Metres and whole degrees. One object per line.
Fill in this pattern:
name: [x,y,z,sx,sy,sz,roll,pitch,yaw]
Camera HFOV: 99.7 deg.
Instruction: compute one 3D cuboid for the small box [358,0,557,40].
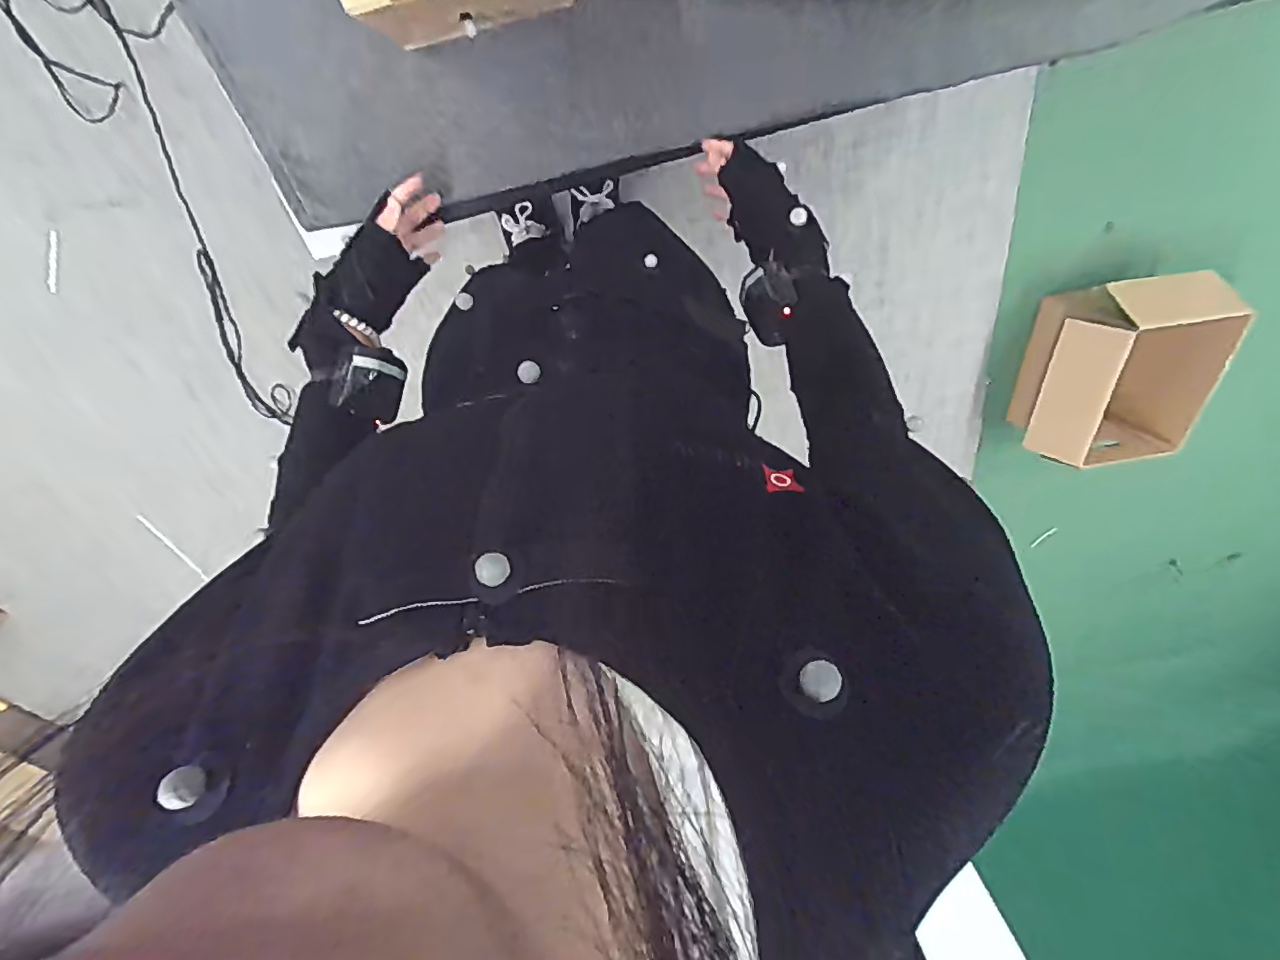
small box: [-0.145,-0.448,0.380,0.168,0.176,0.179,-16,124,0]
